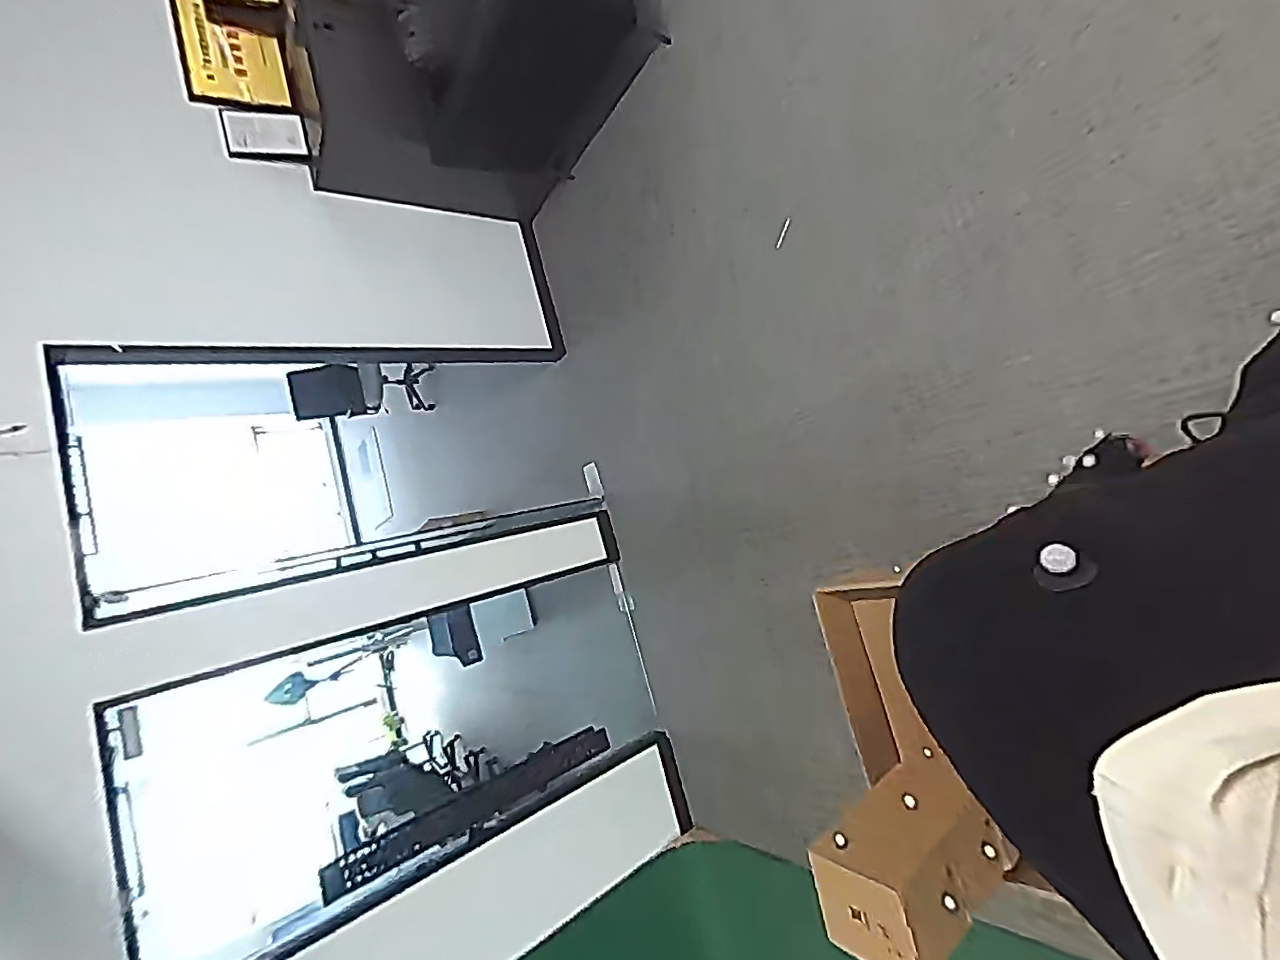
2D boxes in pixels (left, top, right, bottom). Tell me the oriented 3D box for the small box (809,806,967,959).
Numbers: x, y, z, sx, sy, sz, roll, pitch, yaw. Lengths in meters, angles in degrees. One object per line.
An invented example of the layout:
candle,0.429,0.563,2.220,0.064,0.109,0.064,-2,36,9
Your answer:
small box,0.432,0.709,0.947,0.179,0.176,0.168,-16,86,52

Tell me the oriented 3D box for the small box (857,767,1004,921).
small box,0.561,0.684,1.046,0.179,0.176,0.168,-19,84,52
